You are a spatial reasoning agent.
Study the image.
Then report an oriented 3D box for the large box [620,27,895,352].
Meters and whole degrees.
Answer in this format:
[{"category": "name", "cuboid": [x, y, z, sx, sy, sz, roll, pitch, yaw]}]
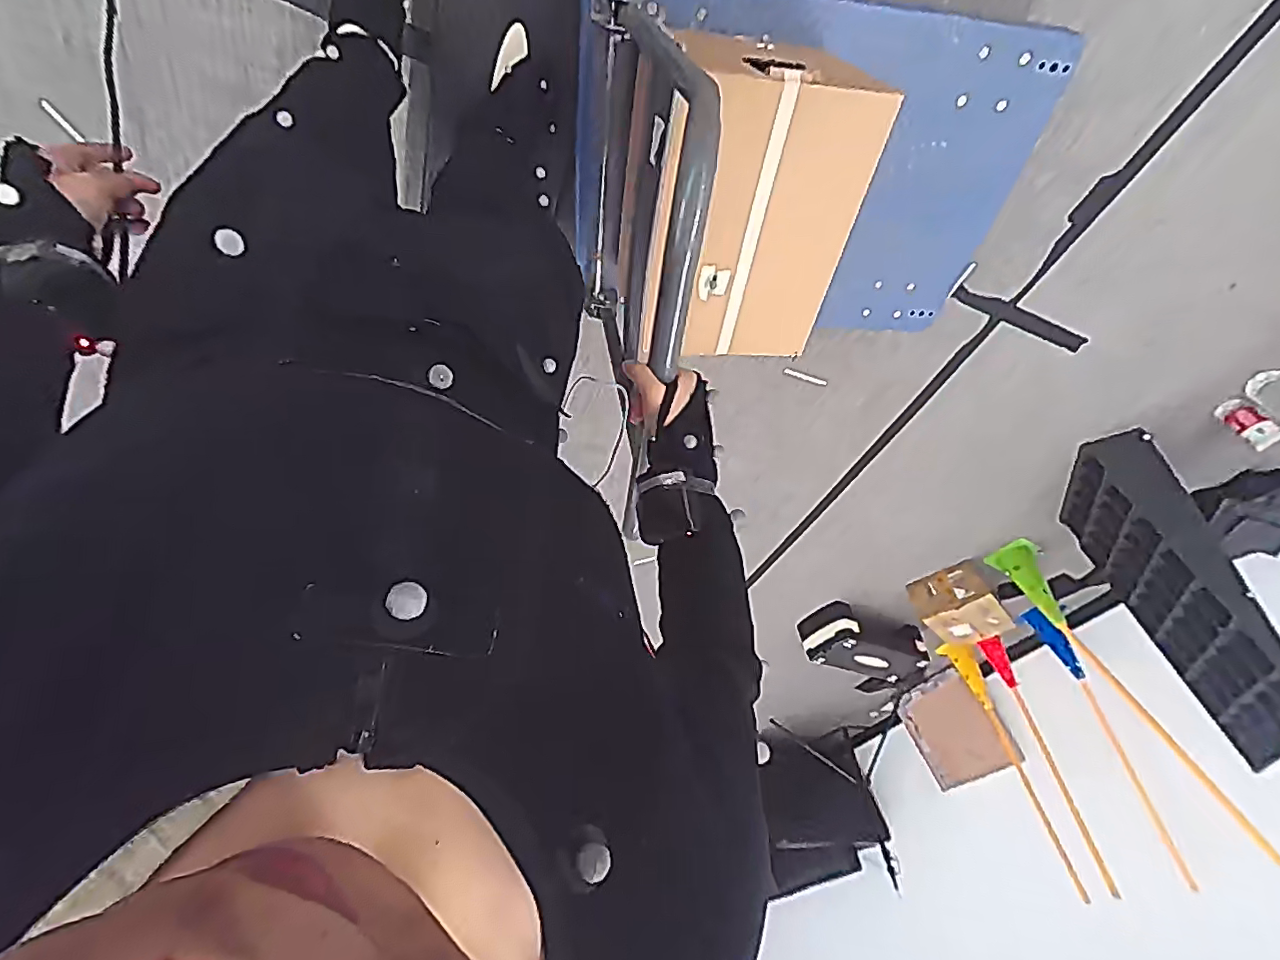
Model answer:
[{"category": "large box", "cuboid": [0.146, -0.477, 0.919, 0.320, 0.320, 0.408, 0, 138, -10]}]
